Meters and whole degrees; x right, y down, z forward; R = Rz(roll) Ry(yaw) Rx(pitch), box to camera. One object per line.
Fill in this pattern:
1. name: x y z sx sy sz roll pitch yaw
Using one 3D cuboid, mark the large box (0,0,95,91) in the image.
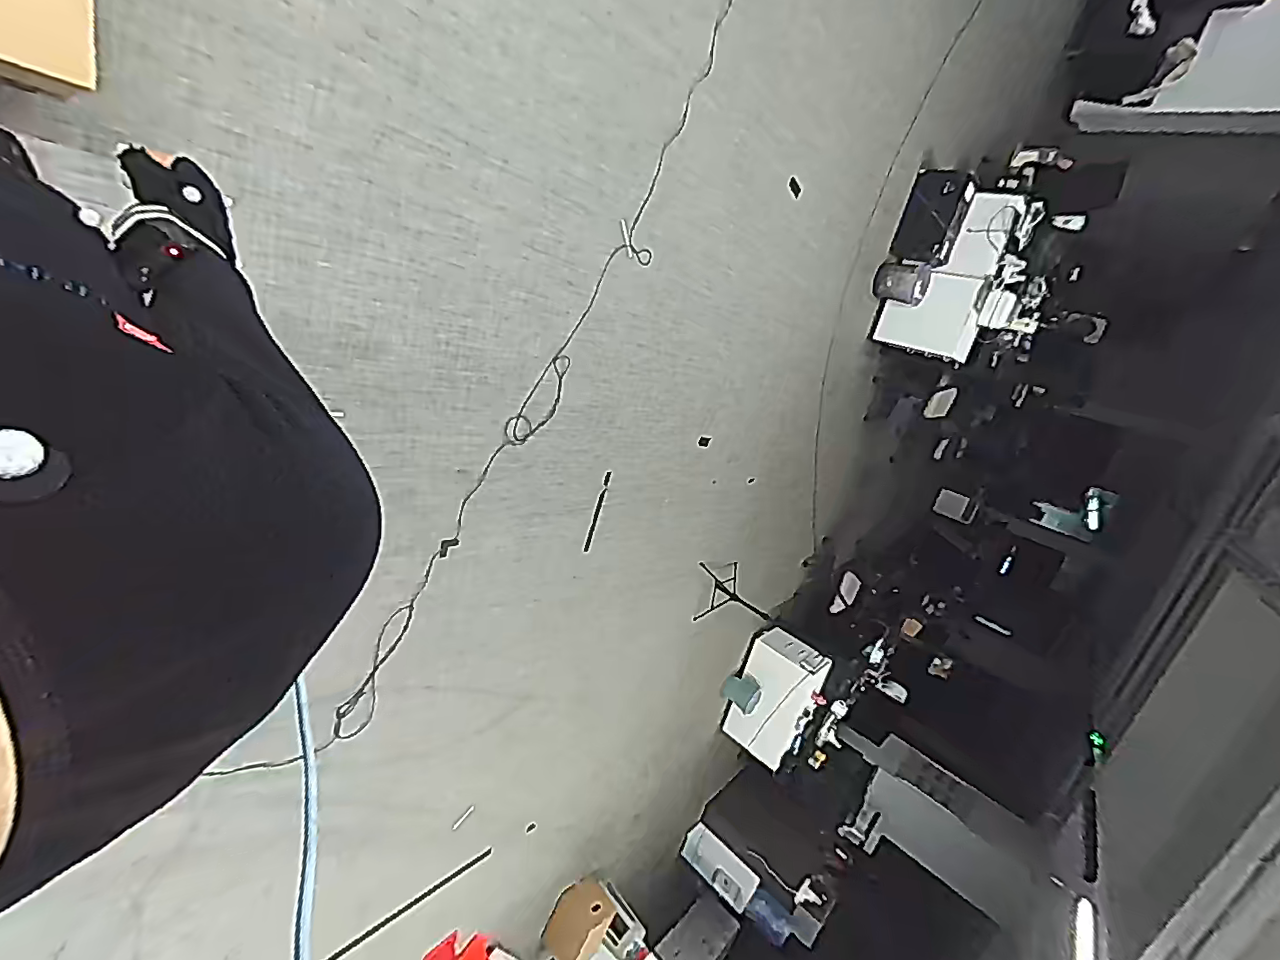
1. large box: -0.966 -0.728 0.642 0.408 0.320 0.320 -8 119 -51
